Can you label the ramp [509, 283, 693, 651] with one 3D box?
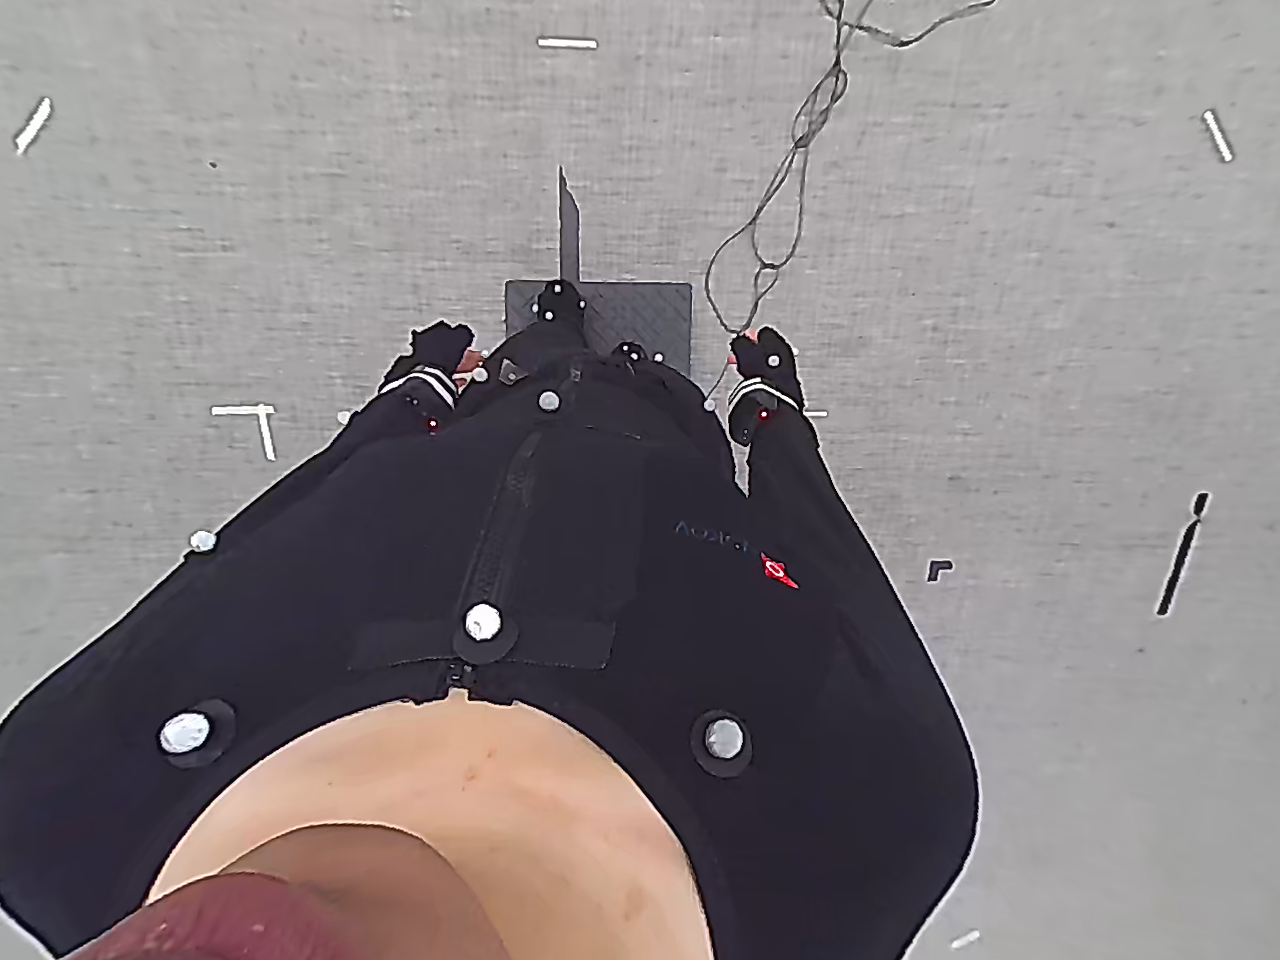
[{"bbox_3d":[-0.108,-0.021,1.470,0.509,0.206,0.991,-1,105,1],"label":"ramp"}]
